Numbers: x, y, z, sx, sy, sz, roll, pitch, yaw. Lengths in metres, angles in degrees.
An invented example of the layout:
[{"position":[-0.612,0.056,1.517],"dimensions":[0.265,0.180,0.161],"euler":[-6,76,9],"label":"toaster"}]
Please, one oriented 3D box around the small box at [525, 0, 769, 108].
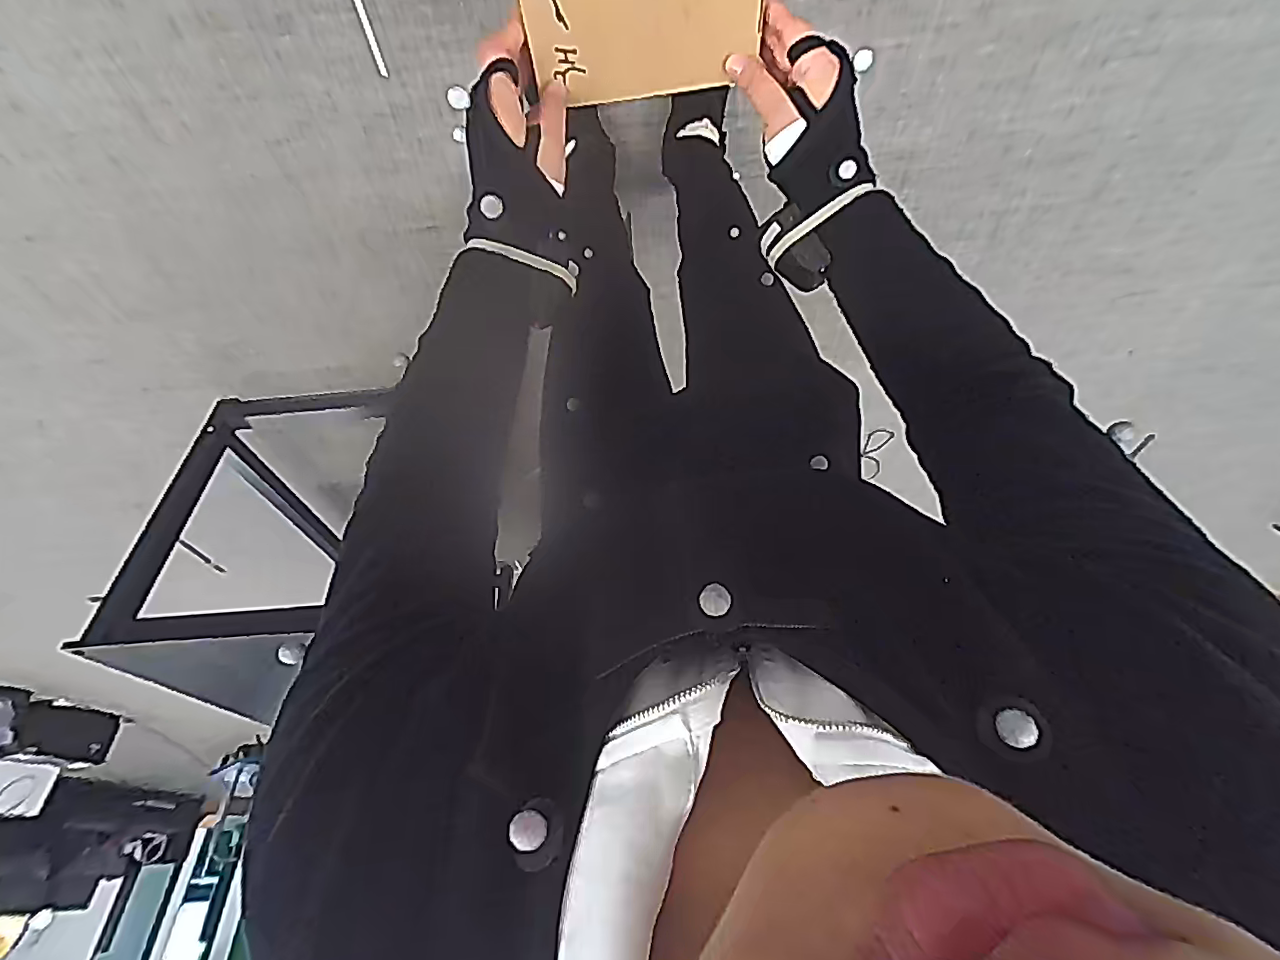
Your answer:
[{"position":[-0.005,-0.419,0.405],"dimensions":[0.179,0.176,0.168],"euler":[-8,148,0],"label":"small box"}]
